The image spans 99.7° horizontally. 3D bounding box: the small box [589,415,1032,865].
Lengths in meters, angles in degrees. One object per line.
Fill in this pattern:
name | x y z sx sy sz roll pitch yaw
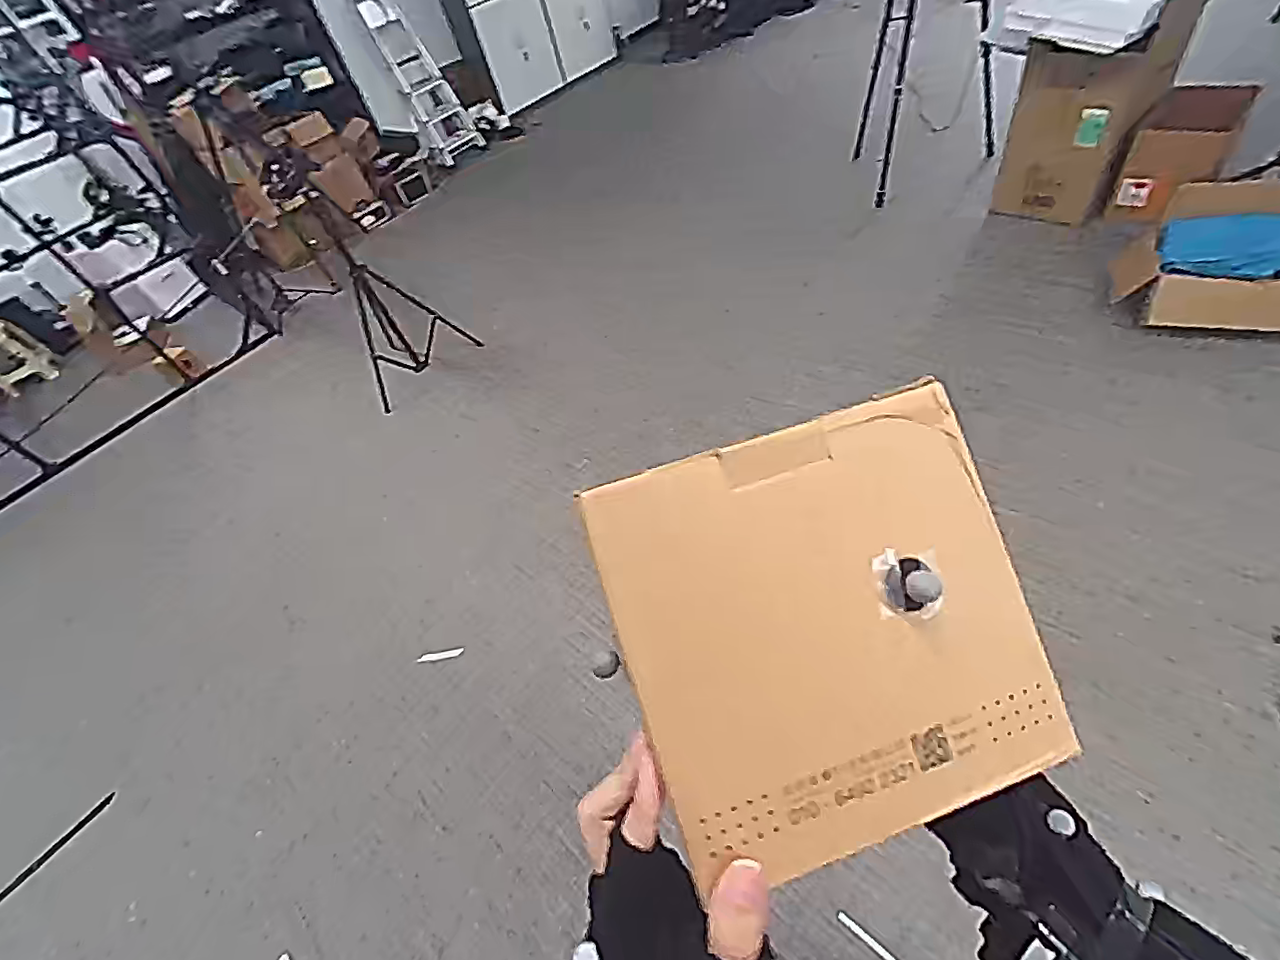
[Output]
small box | 0.074 0.081 0.316 0.168 0.179 0.176 -17 86 -8
